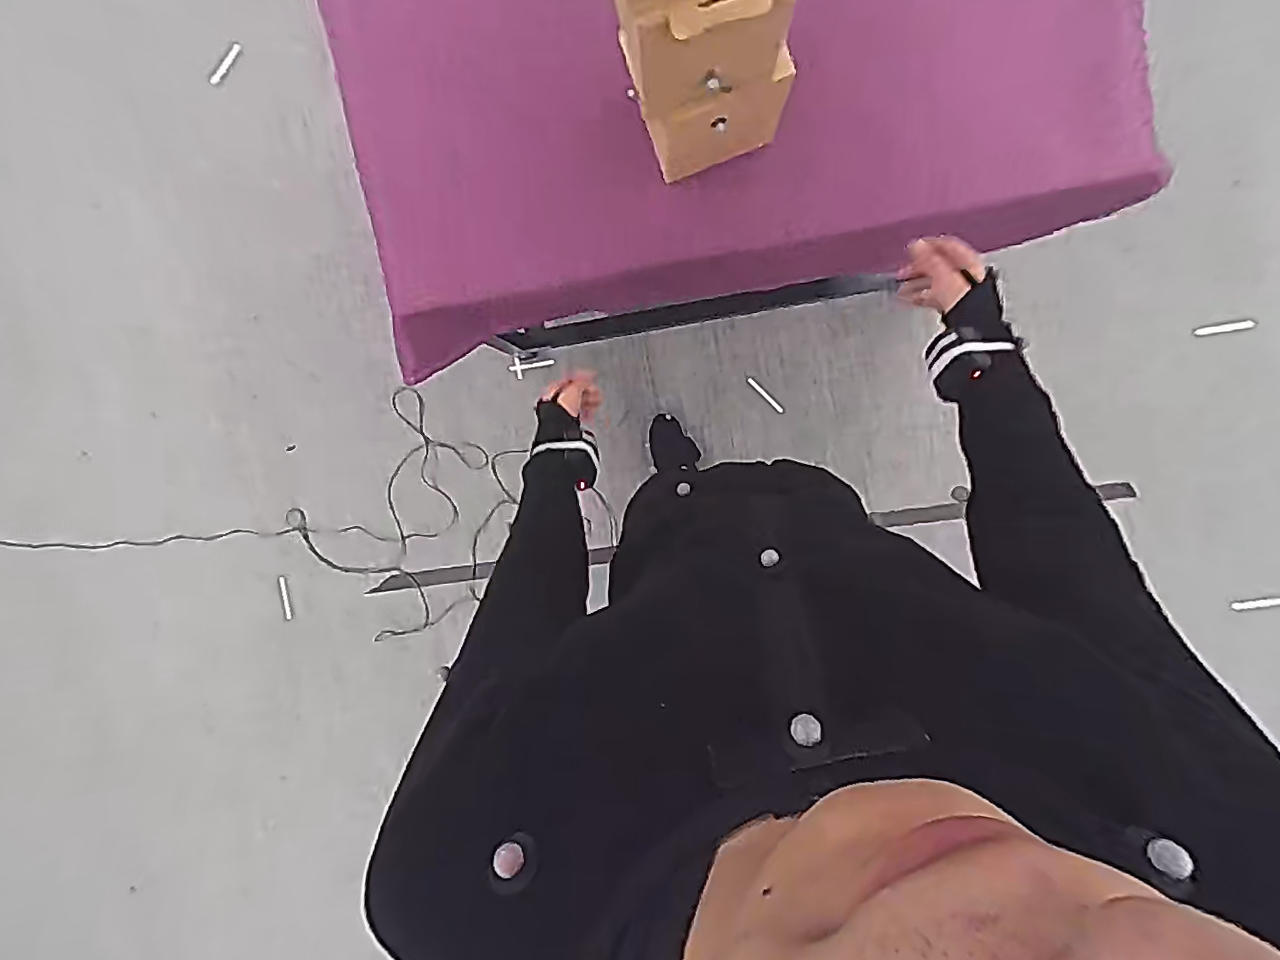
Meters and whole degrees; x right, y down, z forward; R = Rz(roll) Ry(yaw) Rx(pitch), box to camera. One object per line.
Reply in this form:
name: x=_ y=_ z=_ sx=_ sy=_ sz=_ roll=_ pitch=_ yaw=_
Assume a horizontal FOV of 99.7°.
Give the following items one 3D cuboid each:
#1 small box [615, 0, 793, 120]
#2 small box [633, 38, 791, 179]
small box: x=0.059 y=-0.553 z=0.601 sx=0.168 sy=0.176 sz=0.179 roll=-14 pitch=94 yaw=5
small box: x=0.090 y=-0.564 z=0.763 sx=0.179 sy=0.176 sz=0.168 roll=-20 pitch=94 yaw=4
